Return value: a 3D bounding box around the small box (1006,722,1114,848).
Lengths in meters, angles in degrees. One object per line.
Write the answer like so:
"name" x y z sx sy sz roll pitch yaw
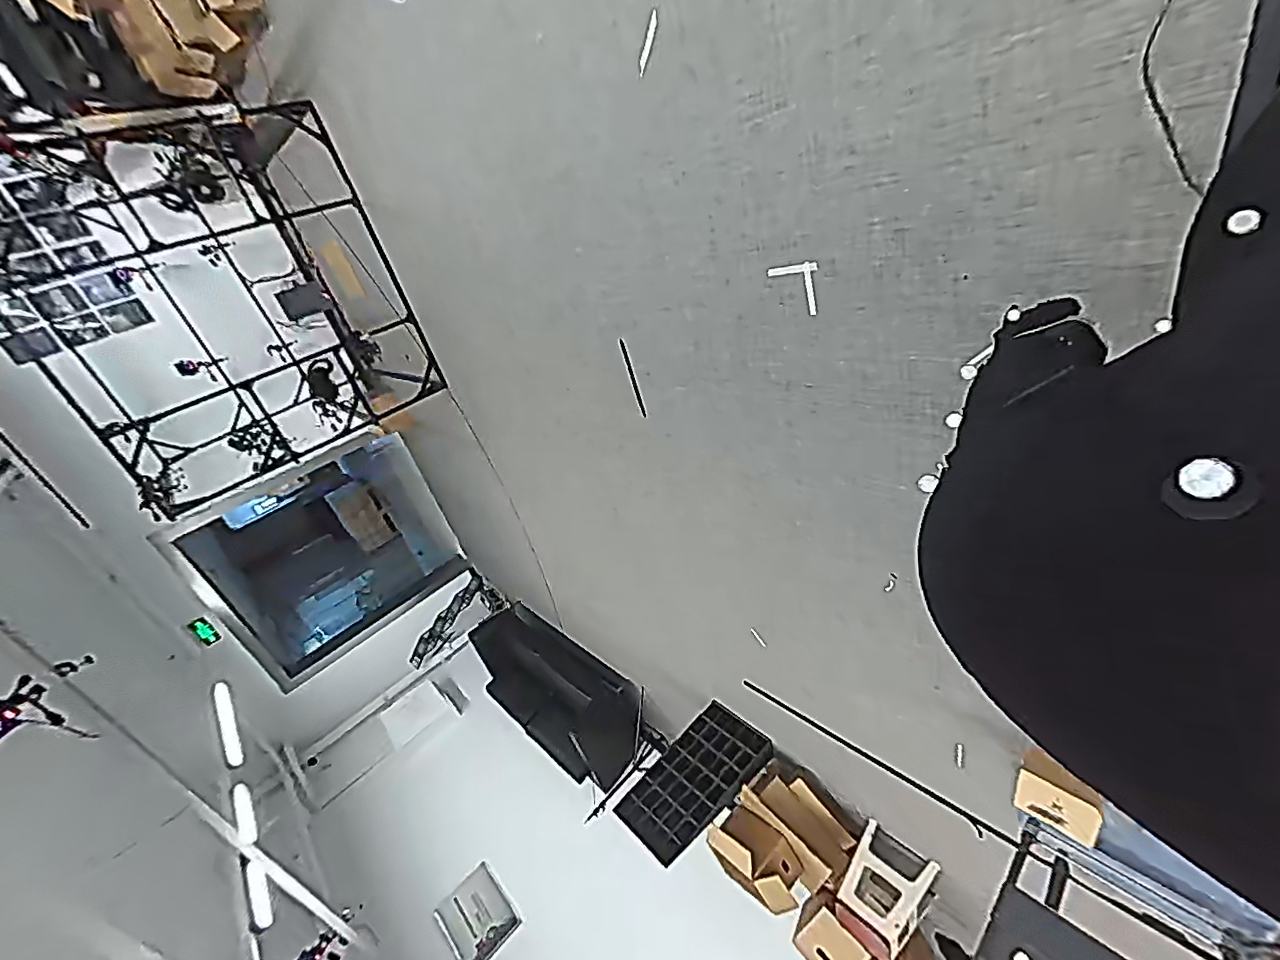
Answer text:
"small box" 1.046 0.753 1.349 0.168 0.176 0.179 20 135 45
